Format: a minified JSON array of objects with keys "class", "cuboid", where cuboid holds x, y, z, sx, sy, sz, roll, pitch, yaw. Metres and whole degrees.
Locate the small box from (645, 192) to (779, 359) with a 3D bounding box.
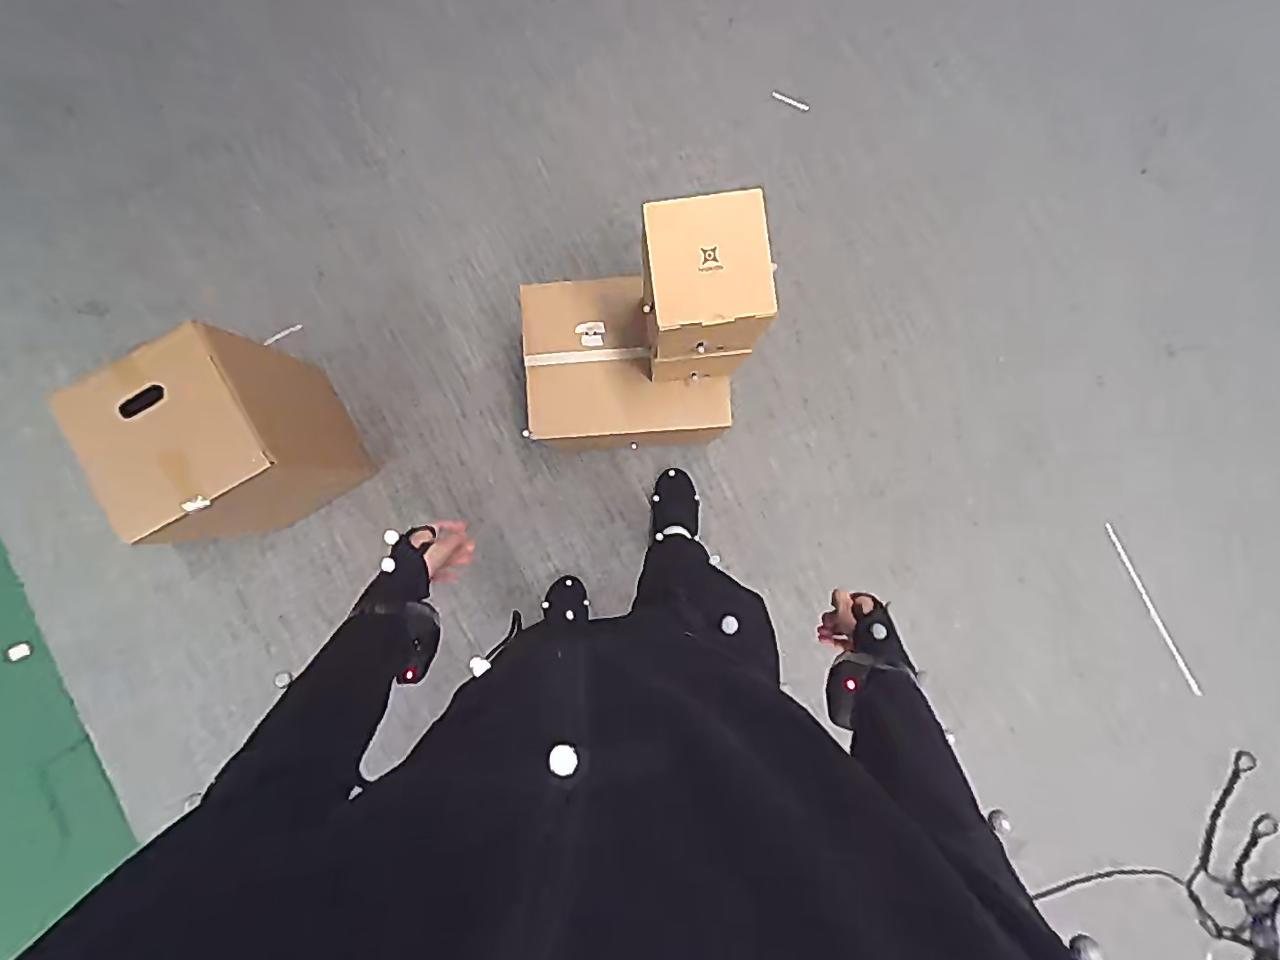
[{"class":"small box","cuboid":[0.097,-0.296,0.812,0.168,0.176,0.179,-7,89,0]}]
